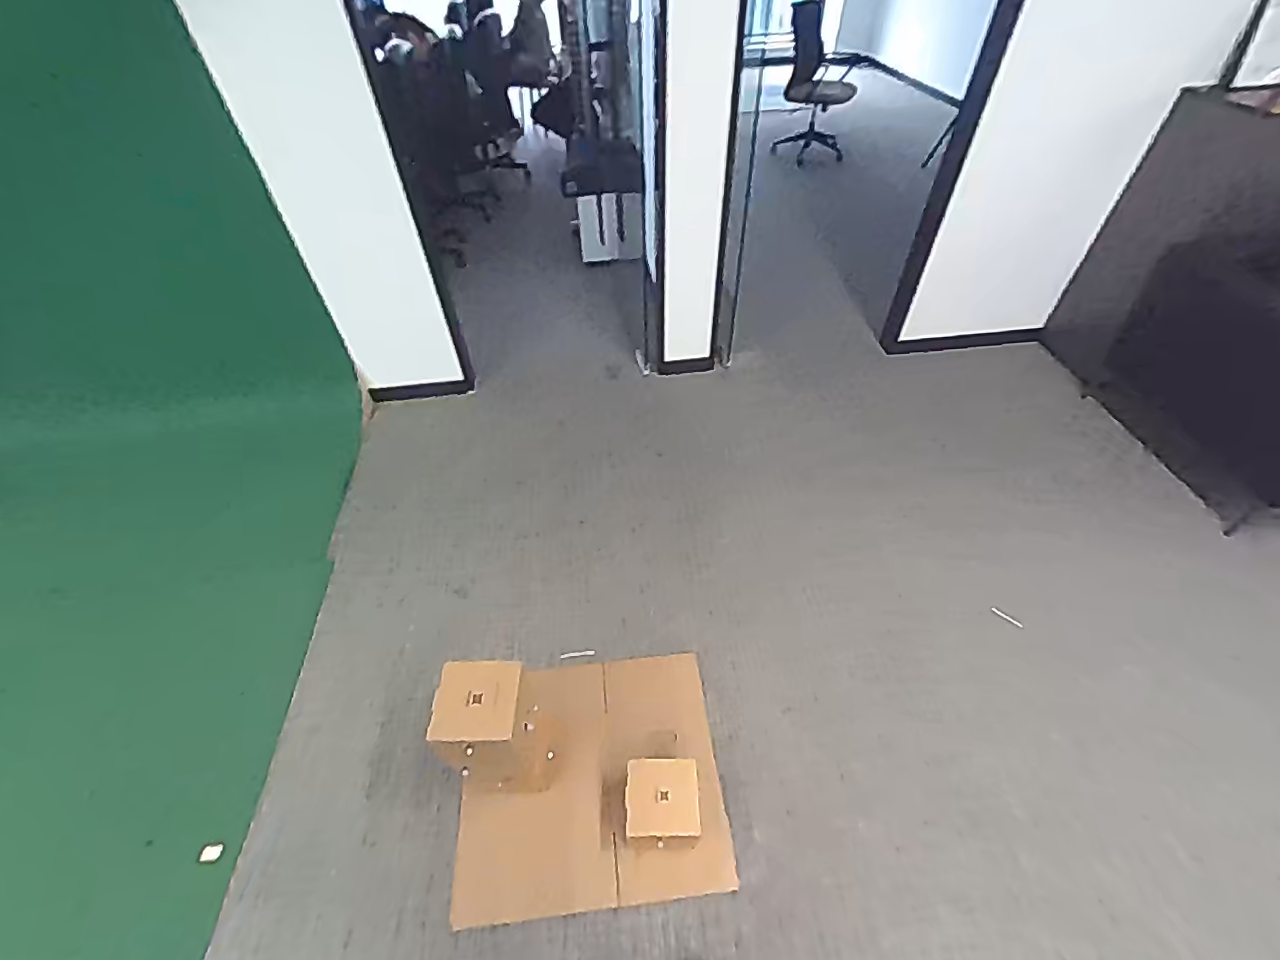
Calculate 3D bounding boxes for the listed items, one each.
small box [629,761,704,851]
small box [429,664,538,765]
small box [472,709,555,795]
[{"bbox_3d":[0.064,0.817,1.355,0.179,0.176,0.168,-2,47,2],"label":"small box"},{"bbox_3d":[-0.337,0.522,1.198,0.179,0.176,0.168,-1,48,1],"label":"small box"},{"bbox_3d":[-0.331,0.732,1.450,0.179,0.176,0.168,-2,47,0],"label":"small box"}]
